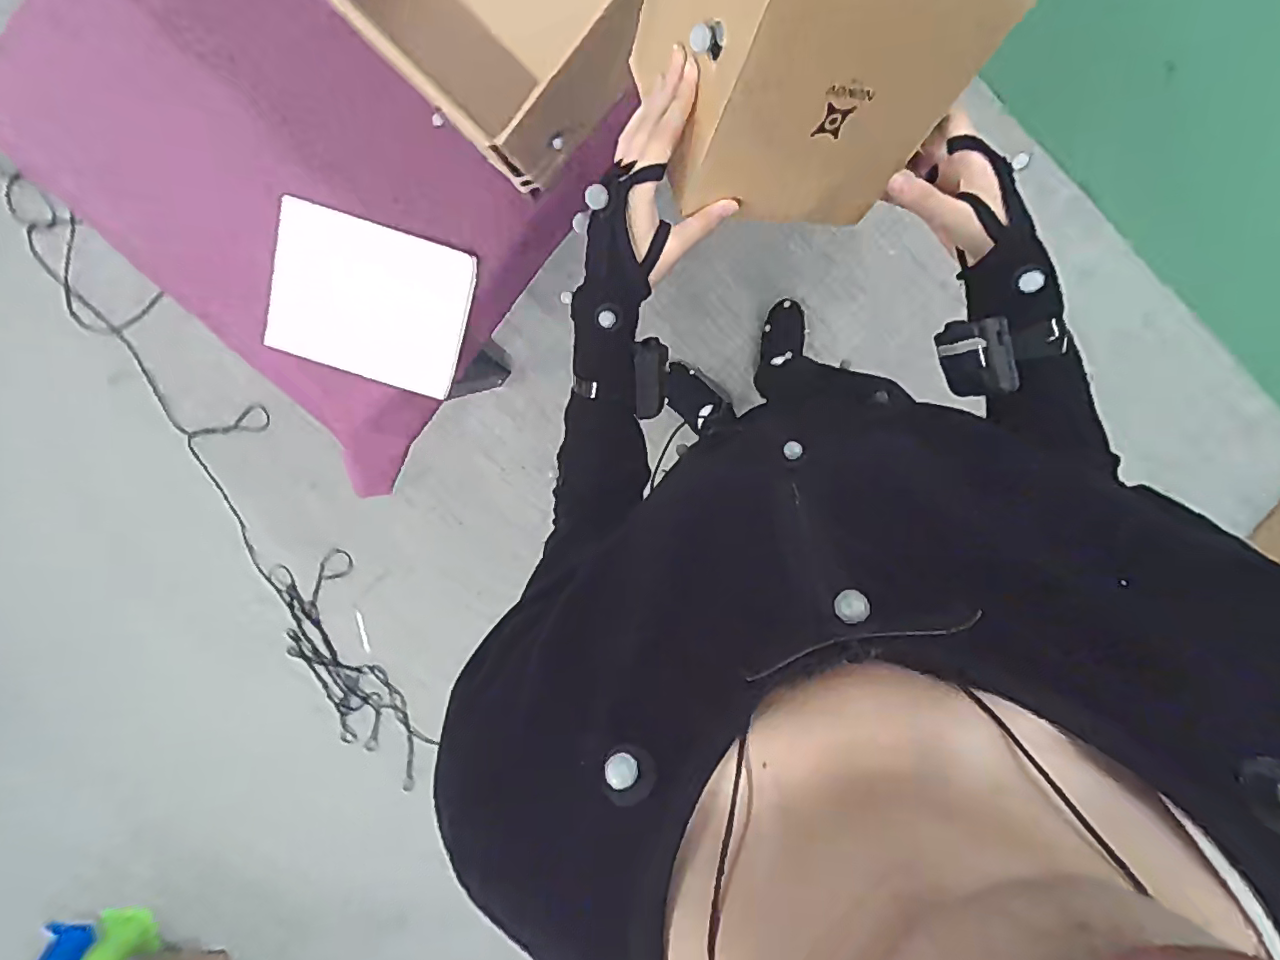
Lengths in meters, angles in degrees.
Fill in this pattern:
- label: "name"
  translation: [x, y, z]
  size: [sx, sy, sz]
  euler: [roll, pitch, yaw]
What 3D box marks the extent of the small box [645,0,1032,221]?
- label: "small box"
  translation: [0.111, -0.315, 0.372]
  size: [0.168, 0.179, 0.176]
  euler: [-6, 69, -19]
